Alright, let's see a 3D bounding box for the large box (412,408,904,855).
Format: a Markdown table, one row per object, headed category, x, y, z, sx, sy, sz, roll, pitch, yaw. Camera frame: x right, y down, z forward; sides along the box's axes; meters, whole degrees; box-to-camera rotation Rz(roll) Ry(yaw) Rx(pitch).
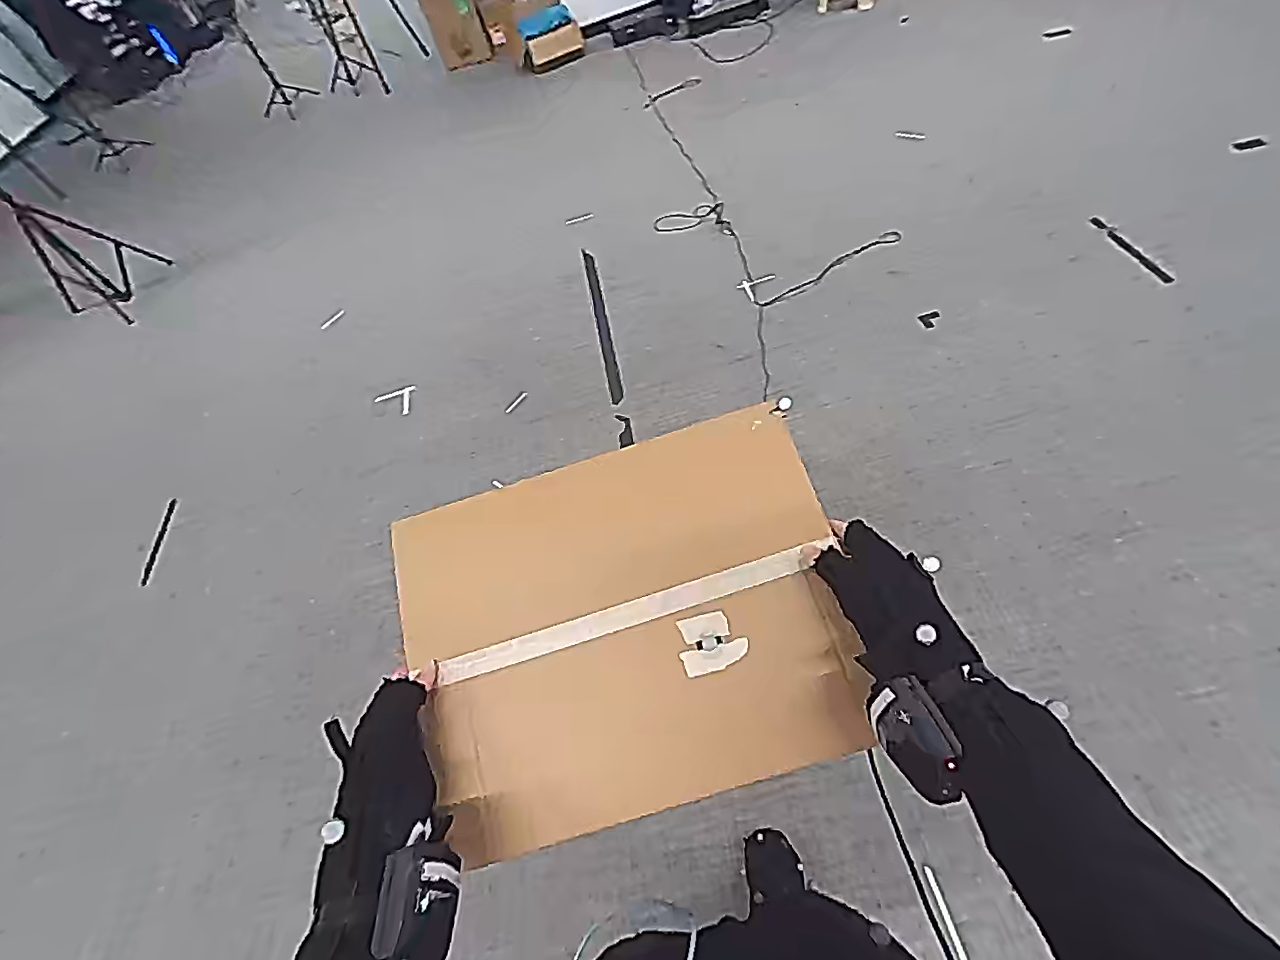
| category | x | y | z | sx | sy | sz | roll | pitch | yaw |
| --- | --- | --- | --- | --- | --- | --- | --- | --- | --- |
| large box | 0.009 | 0.171 | 0.643 | 0.408 | 0.320 | 0.320 | -17 | 70 | 1 |
